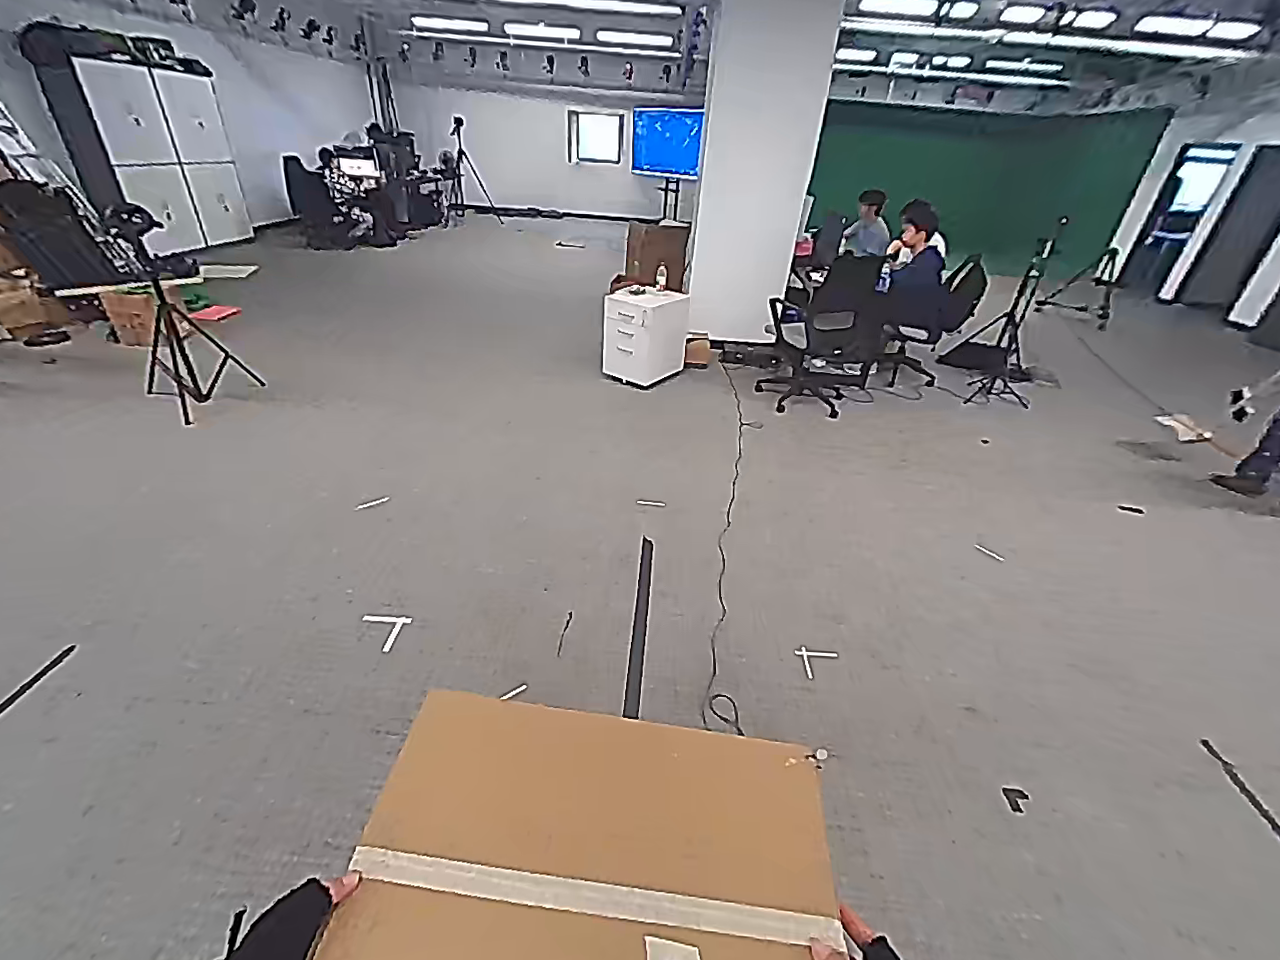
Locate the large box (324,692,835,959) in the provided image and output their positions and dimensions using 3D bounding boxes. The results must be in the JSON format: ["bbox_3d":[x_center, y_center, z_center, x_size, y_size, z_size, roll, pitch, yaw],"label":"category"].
[{"bbox_3d":[-0.051,0.463,0.549,0.408,0.320,0.320,8,38,2],"label":"large box"}]
